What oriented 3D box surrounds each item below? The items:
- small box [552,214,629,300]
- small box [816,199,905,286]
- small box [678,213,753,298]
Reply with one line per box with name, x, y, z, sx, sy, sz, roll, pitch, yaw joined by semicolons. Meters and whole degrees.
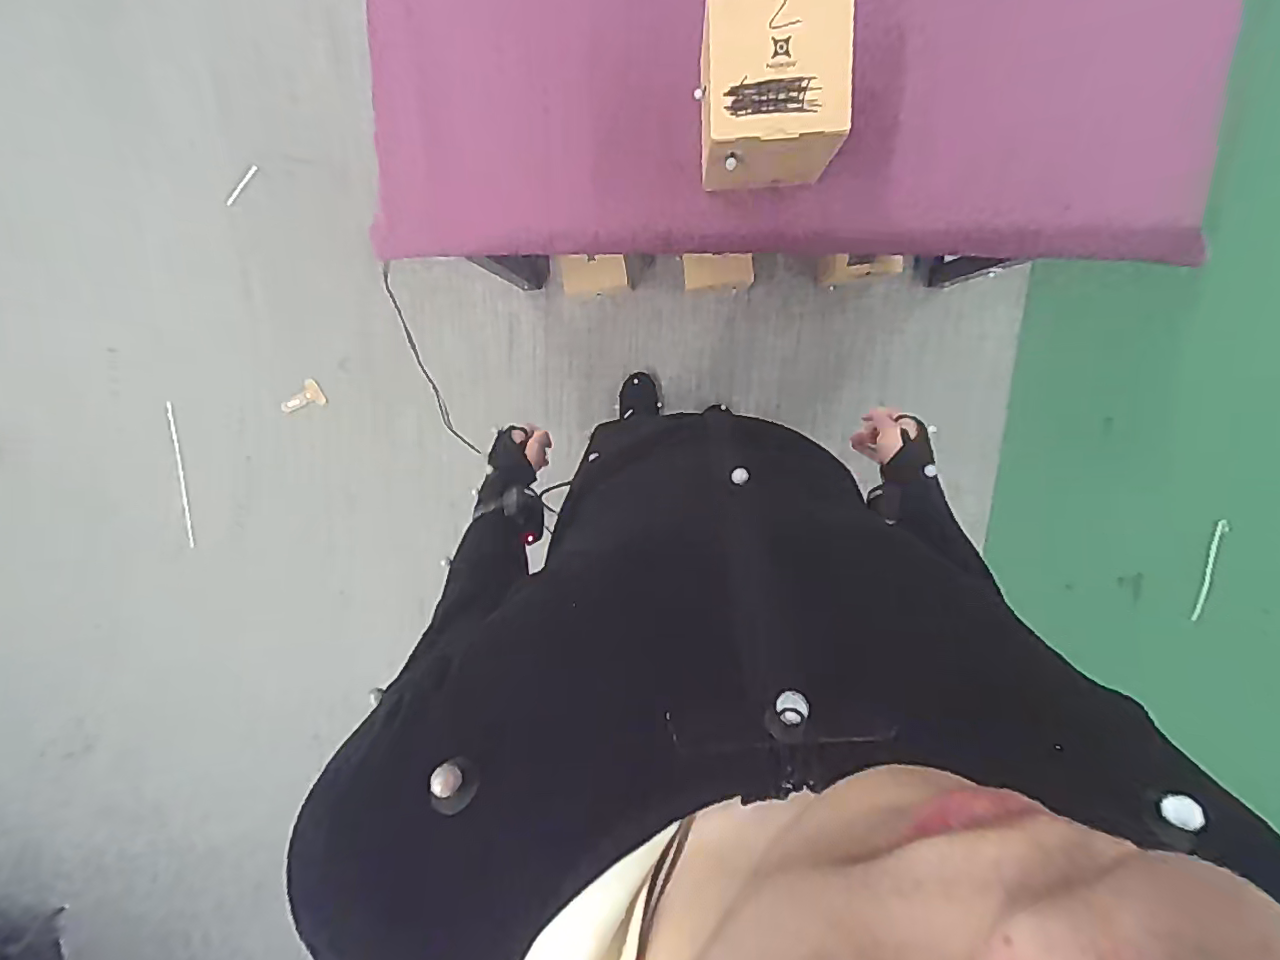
small box;-0.124;-0.581;1.433;0.168;0.176;0.179;-7;101;4
small box;0.560;-0.603;1.394;0.168;0.176;0.179;-2;100;3
small box;0.193;-0.582;1.418;0.179;0.176;0.168;-5;100;5
